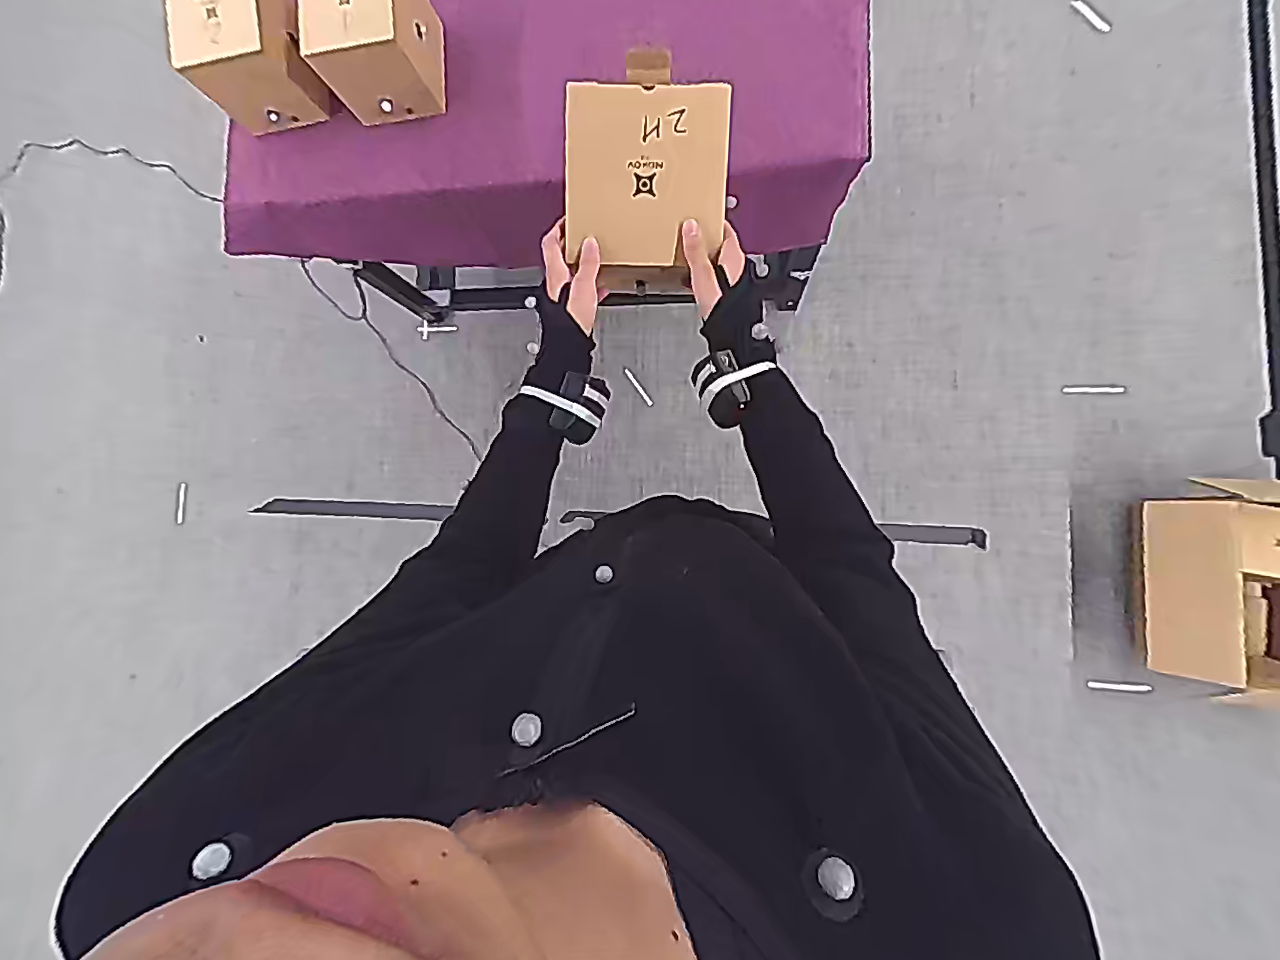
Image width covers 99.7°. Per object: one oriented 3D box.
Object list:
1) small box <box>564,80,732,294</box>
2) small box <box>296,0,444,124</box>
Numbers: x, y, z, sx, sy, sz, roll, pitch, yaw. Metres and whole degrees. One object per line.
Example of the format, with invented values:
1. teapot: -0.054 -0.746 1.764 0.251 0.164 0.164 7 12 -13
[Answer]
1. small box: 0.009 -0.316 0.619 0.168 0.176 0.179 2 99 2
2. small box: -0.455 -0.761 0.930 0.168 0.176 0.179 -4 87 8
